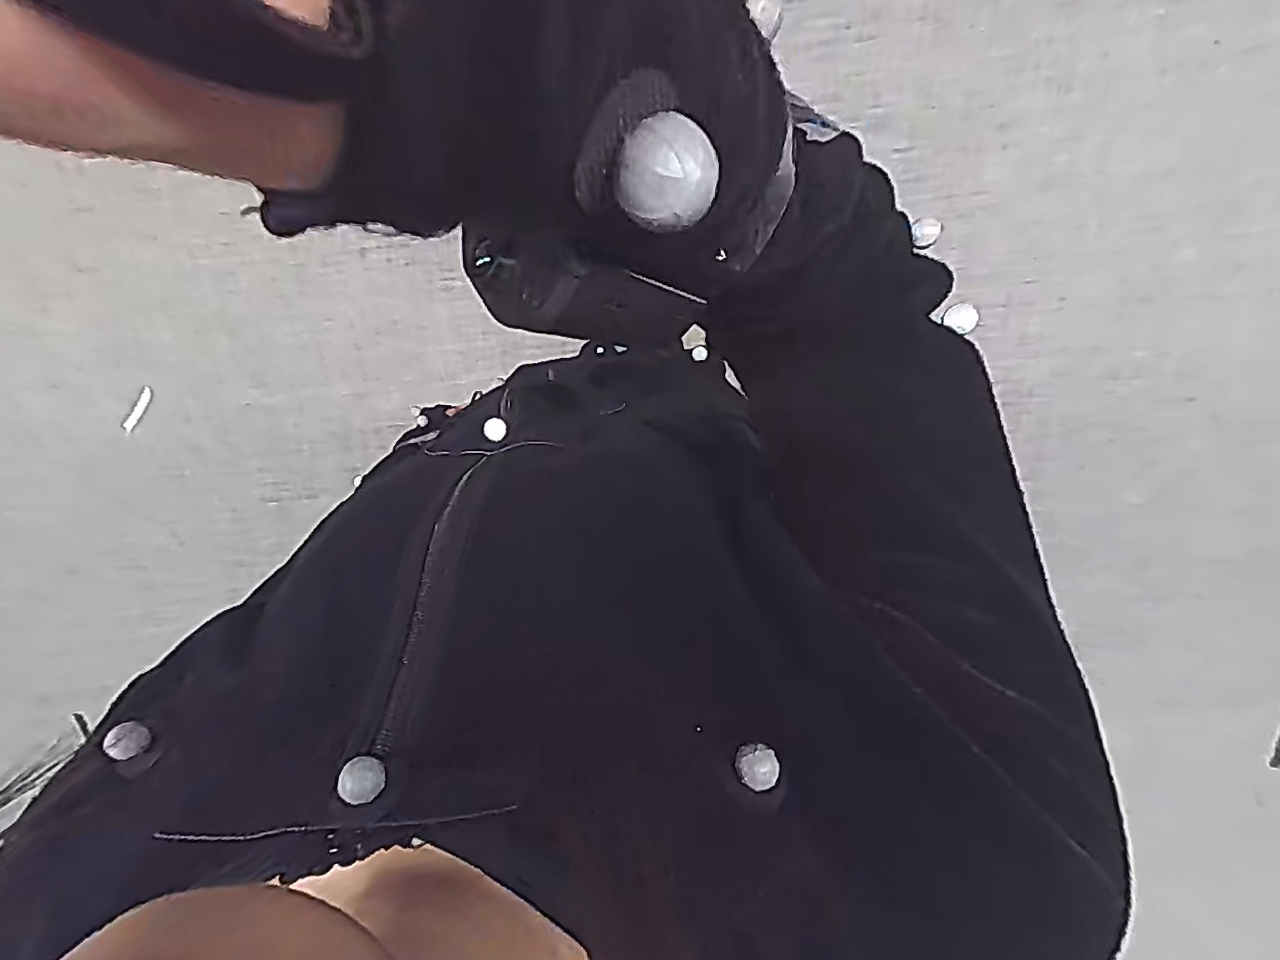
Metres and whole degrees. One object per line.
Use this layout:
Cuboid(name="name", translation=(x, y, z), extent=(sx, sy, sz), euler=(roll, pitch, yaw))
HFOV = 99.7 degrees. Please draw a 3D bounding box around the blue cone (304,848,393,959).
Cuboid(name="blue cone", translation=(-0.961, 1.401, 1.717), extent=(0.193, 0.380, 0.192), euler=(0, 105, 3))
